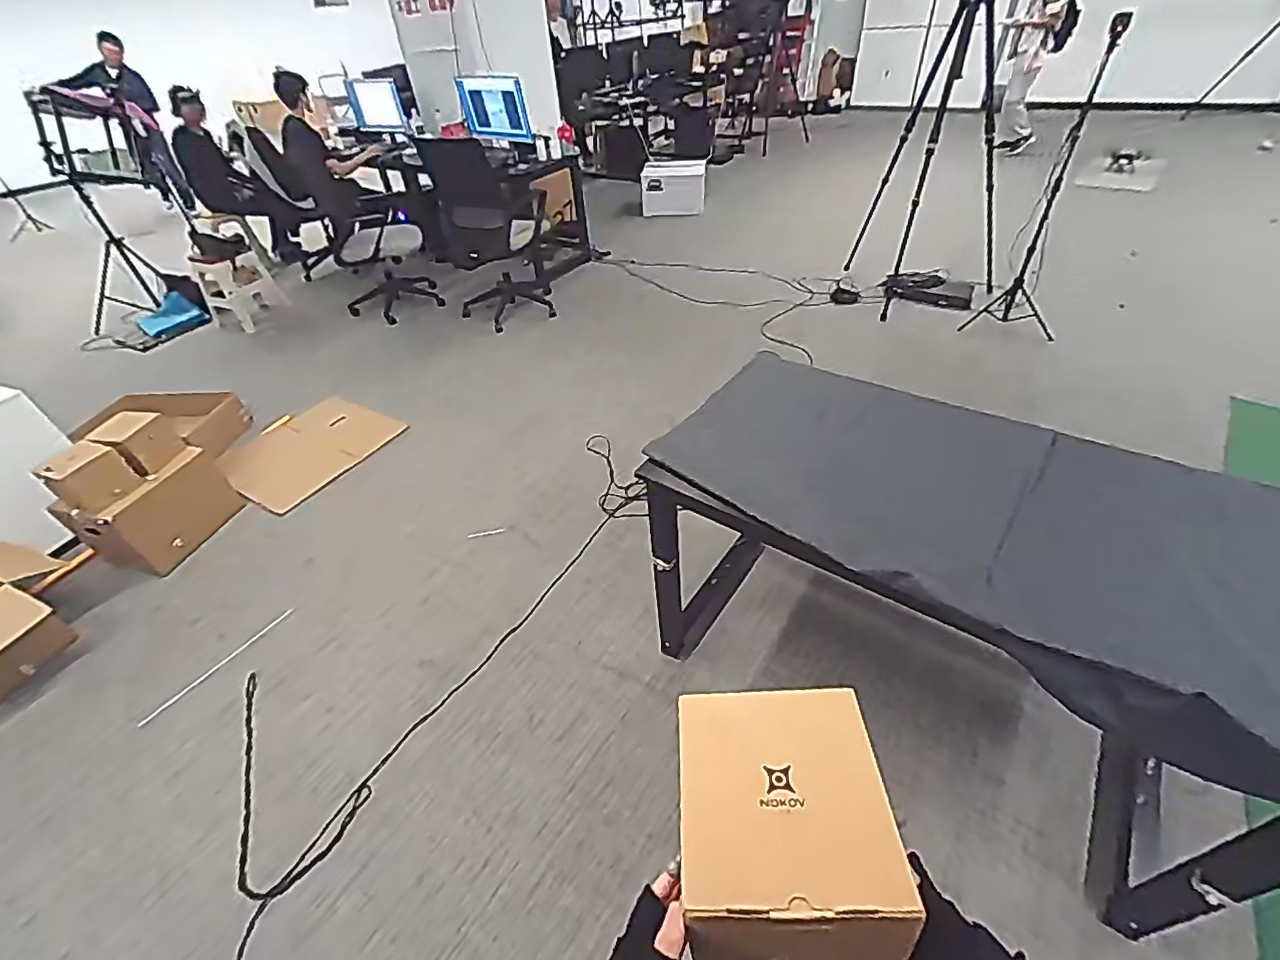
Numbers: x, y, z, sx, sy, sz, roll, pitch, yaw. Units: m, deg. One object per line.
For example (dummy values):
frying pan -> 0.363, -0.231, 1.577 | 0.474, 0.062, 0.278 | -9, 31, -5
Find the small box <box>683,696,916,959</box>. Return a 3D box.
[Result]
small box -> 0.126, 0.326, 0.498 | 0.168, 0.176, 0.179 | -5, 35, 6
